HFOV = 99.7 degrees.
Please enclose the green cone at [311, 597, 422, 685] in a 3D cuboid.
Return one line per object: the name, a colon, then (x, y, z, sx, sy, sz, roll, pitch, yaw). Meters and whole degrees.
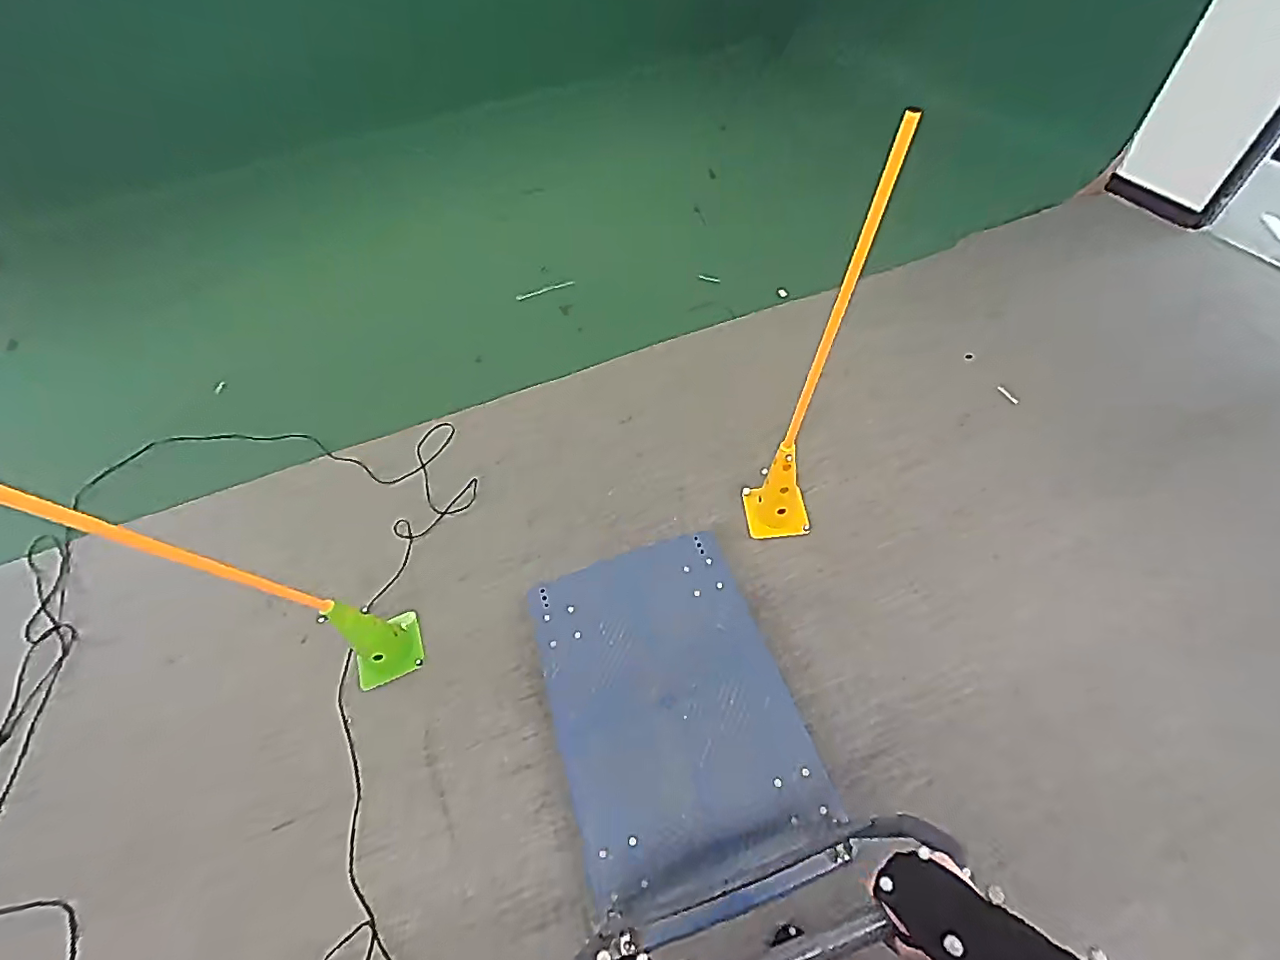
green cone: (-0.815, 0.419, 1.558, 0.202, 0.368, 0.200, -24, 55, -8)
